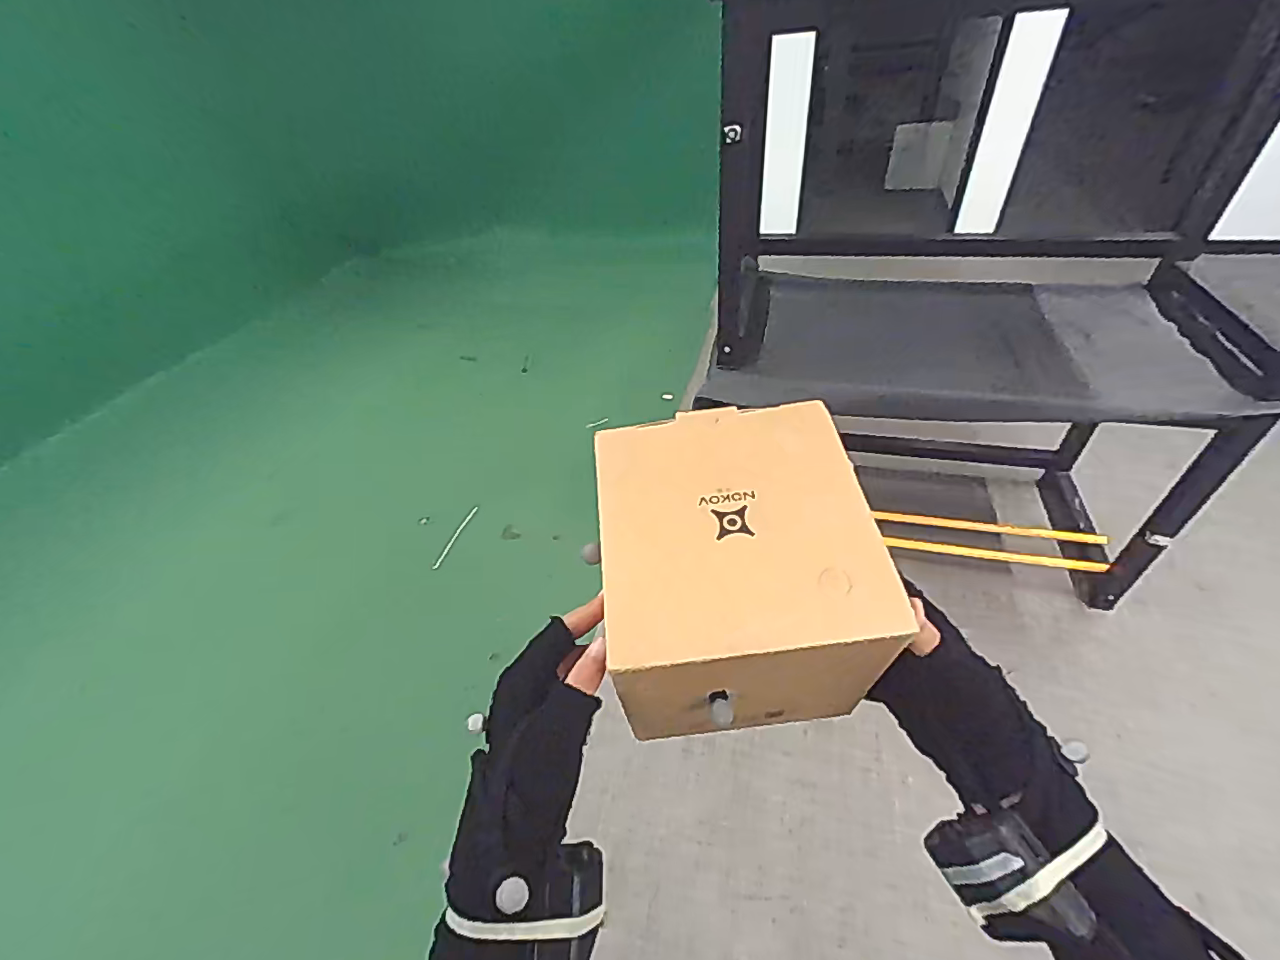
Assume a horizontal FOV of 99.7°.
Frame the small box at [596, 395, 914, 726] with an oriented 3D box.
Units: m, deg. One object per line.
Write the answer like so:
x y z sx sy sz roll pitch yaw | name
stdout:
0.065 0.067 0.393 0.168 0.176 0.179 -8 51 1 | small box
